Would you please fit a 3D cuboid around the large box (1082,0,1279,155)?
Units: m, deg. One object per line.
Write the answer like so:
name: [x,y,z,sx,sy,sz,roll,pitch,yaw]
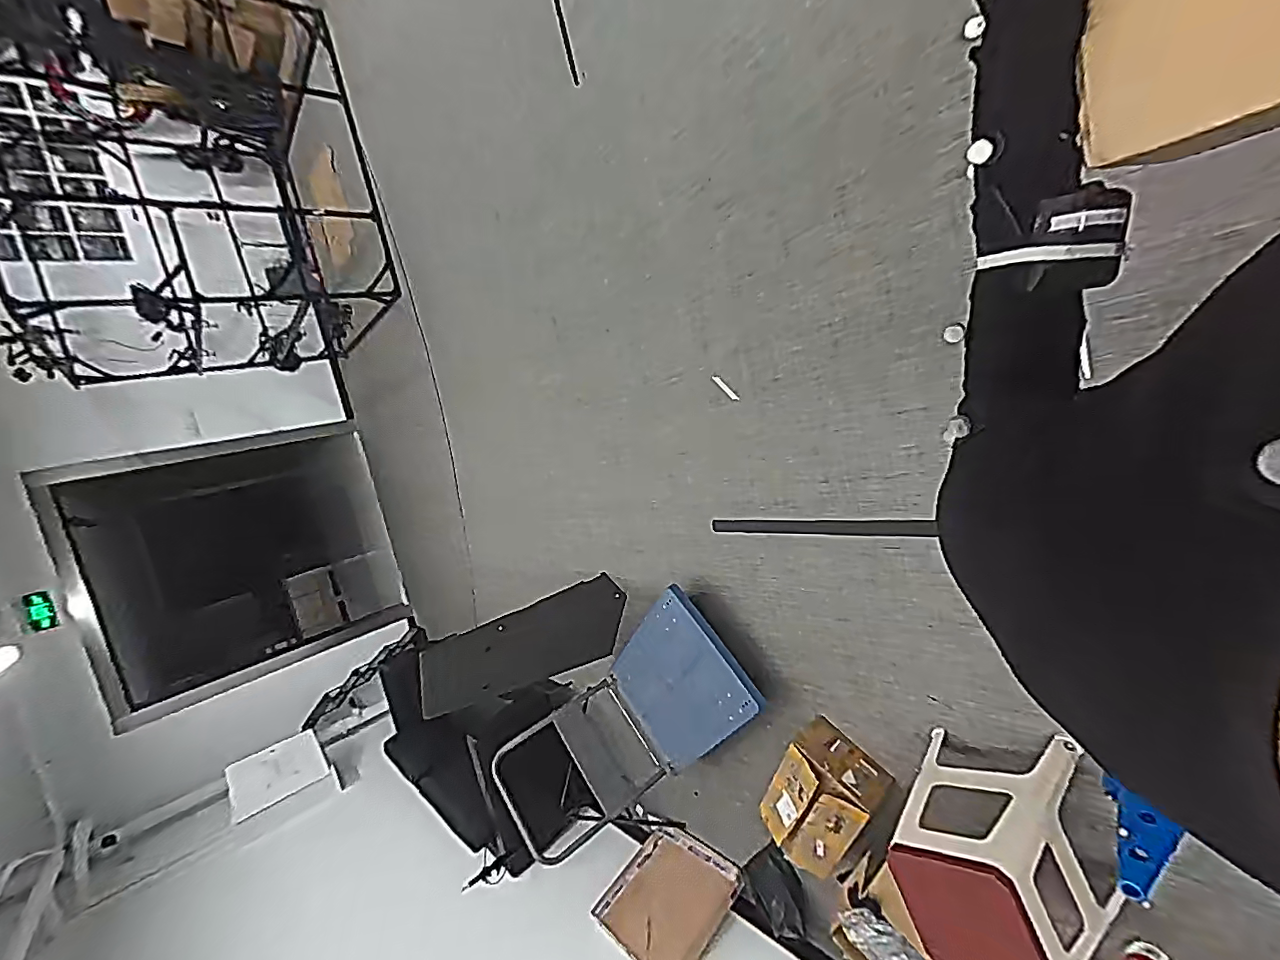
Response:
large box: [0.501,-0.421,0.273,0.408,0.320,0.320,-2,110,52]
